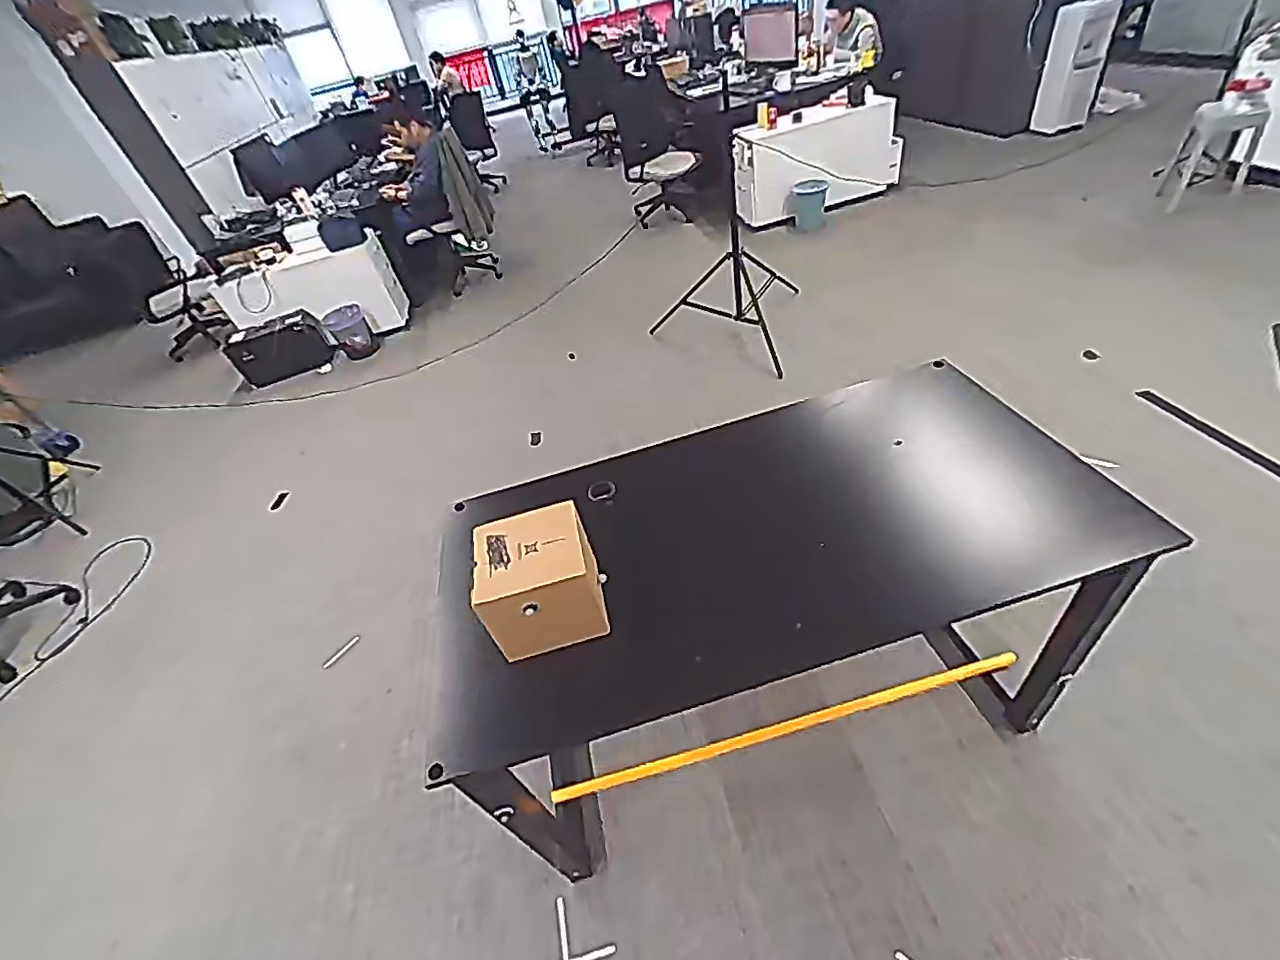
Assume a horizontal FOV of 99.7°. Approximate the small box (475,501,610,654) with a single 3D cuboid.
[{"bbox_3d":[-0.162,0.168,0.913,0.179,0.176,0.168,-15,42,-2],"label":"small box"}]
